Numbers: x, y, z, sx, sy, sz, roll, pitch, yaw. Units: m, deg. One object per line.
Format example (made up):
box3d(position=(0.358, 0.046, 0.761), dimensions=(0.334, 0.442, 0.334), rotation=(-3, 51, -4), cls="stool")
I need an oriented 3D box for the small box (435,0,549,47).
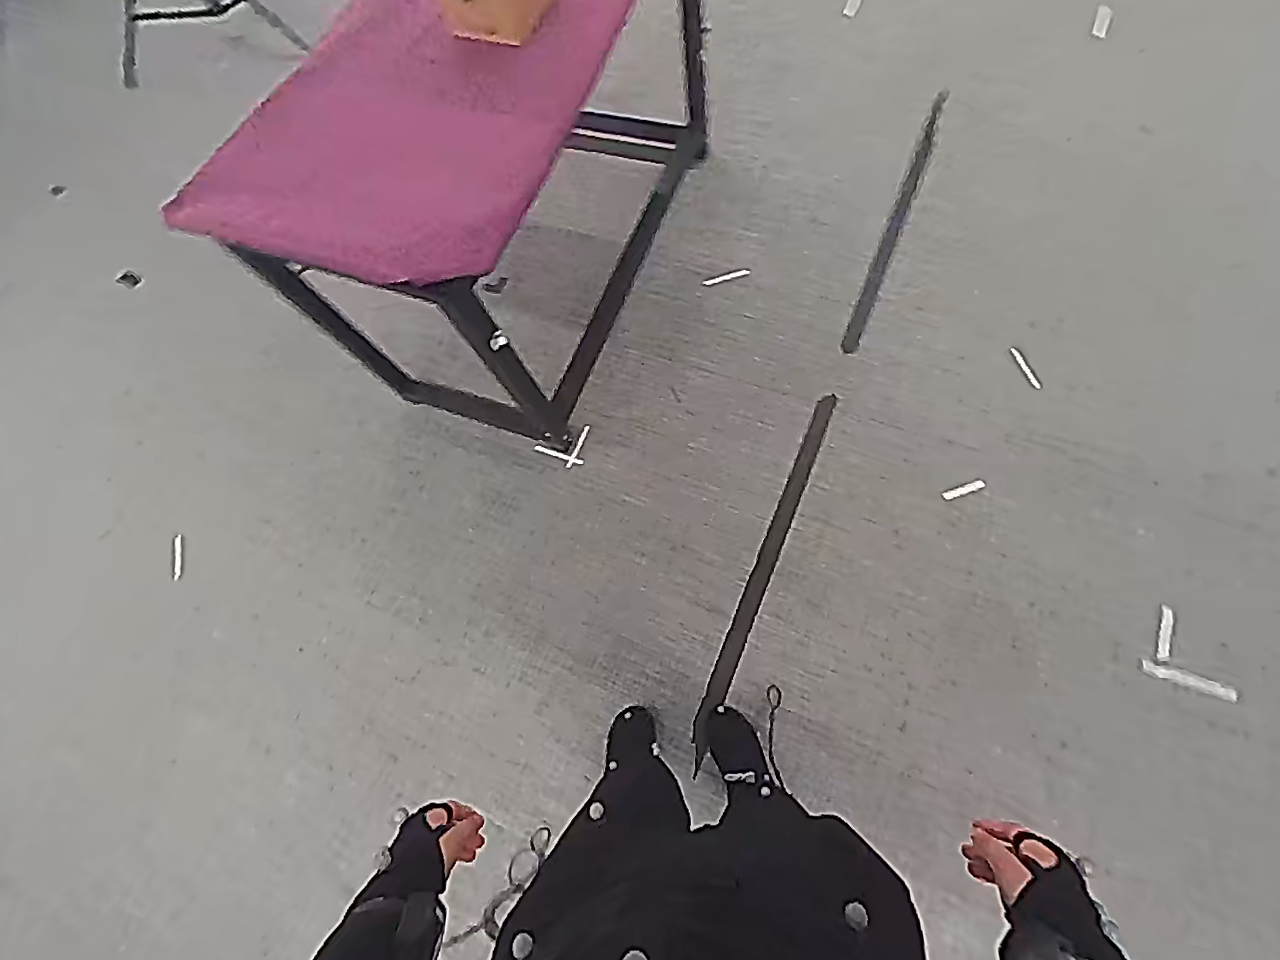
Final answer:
box3d(position=(-0.285, -0.952, 1.001), dimensions=(0.168, 0.176, 0.179), rotation=(22, 75, 15), cls="small box")
